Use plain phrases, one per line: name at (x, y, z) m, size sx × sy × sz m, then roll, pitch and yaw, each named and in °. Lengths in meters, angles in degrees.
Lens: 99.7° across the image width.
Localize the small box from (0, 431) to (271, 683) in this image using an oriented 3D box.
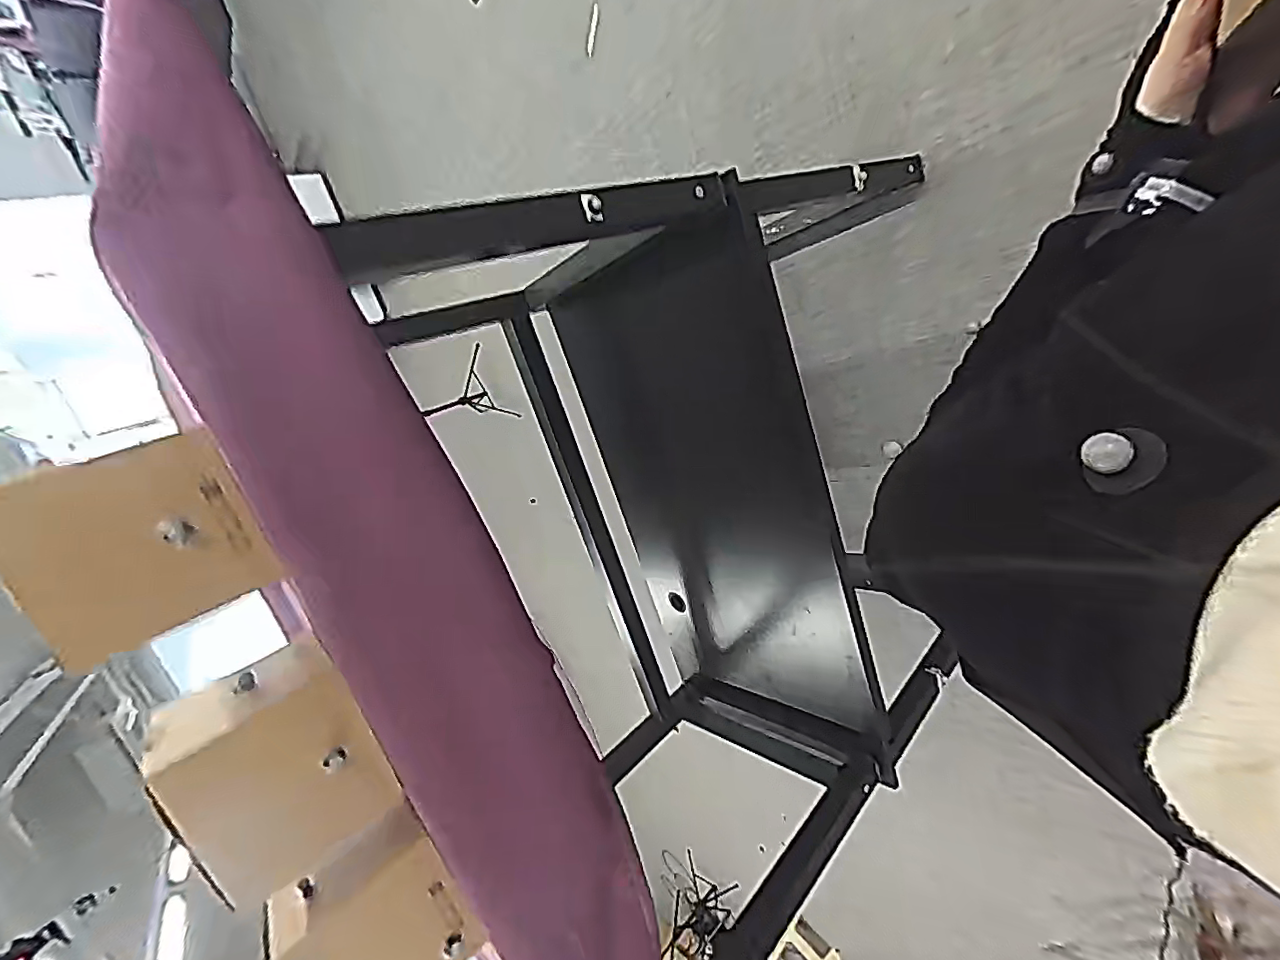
small box at (-0.493, 0.057, 0.528) m, size 0.179 × 0.176 × 0.168 m, roll 3°, pitch 117°, yaw 50°

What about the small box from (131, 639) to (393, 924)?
small box at (-0.402, 0.303, 0.589) m, size 0.168 × 0.176 × 0.179 m, roll 3°, pitch 115°, yaw 51°

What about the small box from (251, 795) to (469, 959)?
small box at (-0.329, 0.517, 0.647) m, size 0.179 × 0.176 × 0.168 m, roll -7°, pitch 108°, yaw 53°
